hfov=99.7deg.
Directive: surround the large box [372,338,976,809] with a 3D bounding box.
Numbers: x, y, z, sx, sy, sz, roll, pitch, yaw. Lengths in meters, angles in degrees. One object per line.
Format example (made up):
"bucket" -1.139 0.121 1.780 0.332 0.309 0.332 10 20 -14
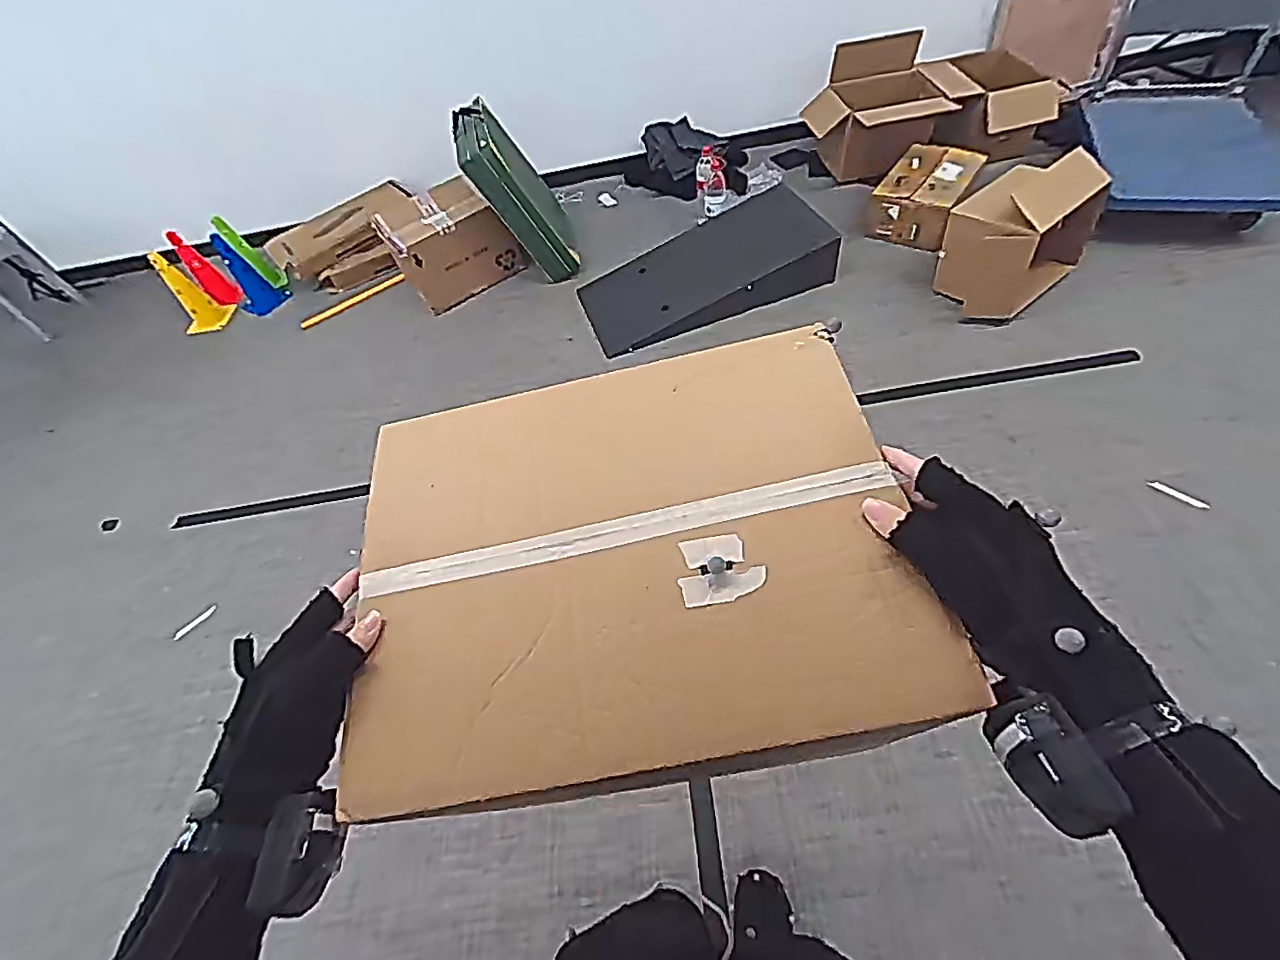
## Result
"large box" 0.015 0.116 0.545 0.408 0.320 0.320 -12 60 3
